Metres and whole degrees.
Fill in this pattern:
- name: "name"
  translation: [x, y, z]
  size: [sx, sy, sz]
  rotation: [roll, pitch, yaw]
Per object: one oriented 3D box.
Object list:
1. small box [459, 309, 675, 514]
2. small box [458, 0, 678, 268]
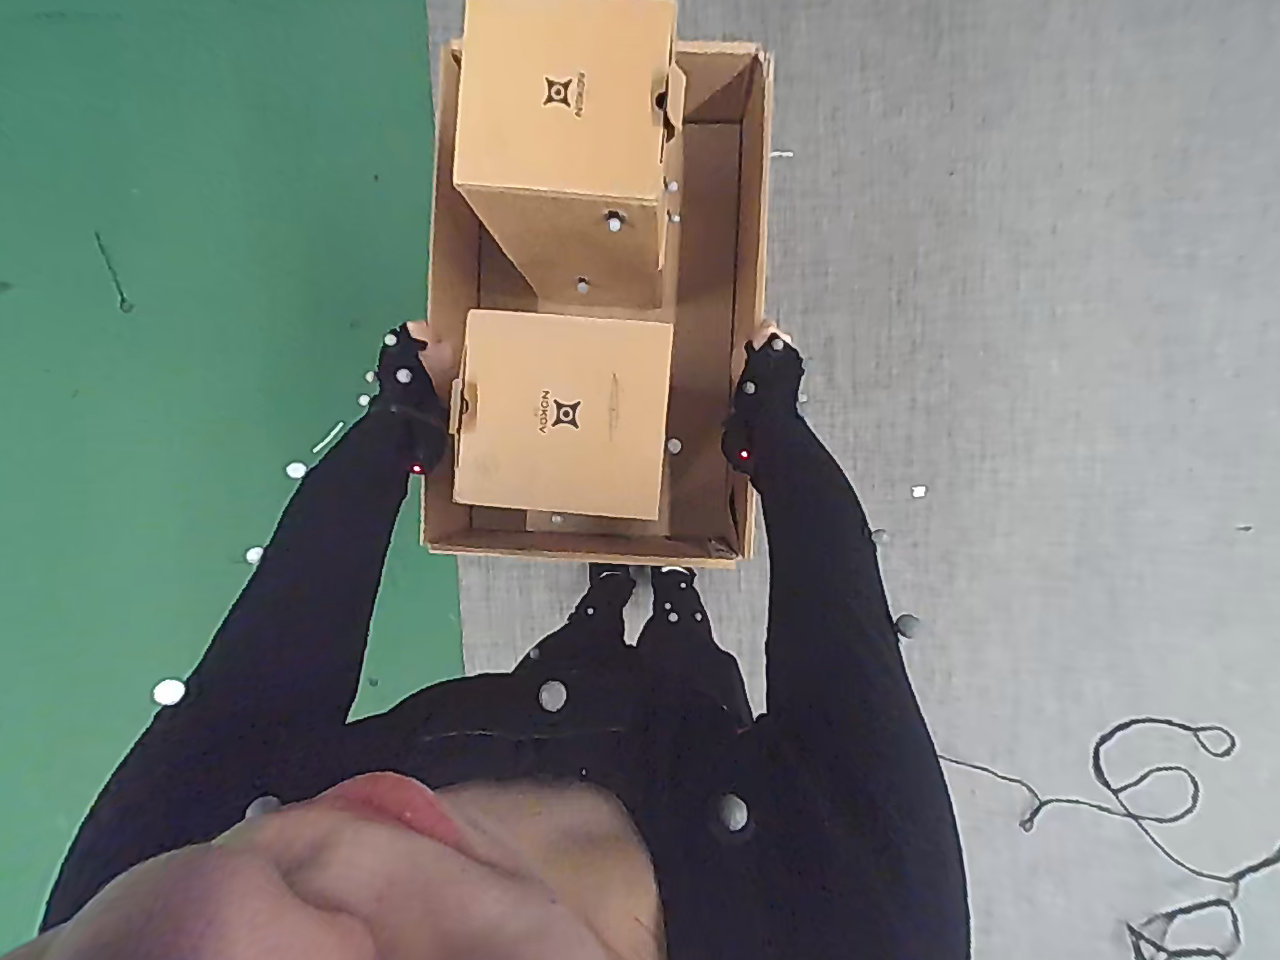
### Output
- name: "small box"
  translation: [-0.060, -0.060, 0.539]
  size: [0.179, 0.176, 0.168]
  rotation: [4, 92, 1]
- name: "small box"
  translation: [-0.059, -0.321, 0.531]
  size: [0.179, 0.176, 0.168]
  rotation: [5, 93, 1]
